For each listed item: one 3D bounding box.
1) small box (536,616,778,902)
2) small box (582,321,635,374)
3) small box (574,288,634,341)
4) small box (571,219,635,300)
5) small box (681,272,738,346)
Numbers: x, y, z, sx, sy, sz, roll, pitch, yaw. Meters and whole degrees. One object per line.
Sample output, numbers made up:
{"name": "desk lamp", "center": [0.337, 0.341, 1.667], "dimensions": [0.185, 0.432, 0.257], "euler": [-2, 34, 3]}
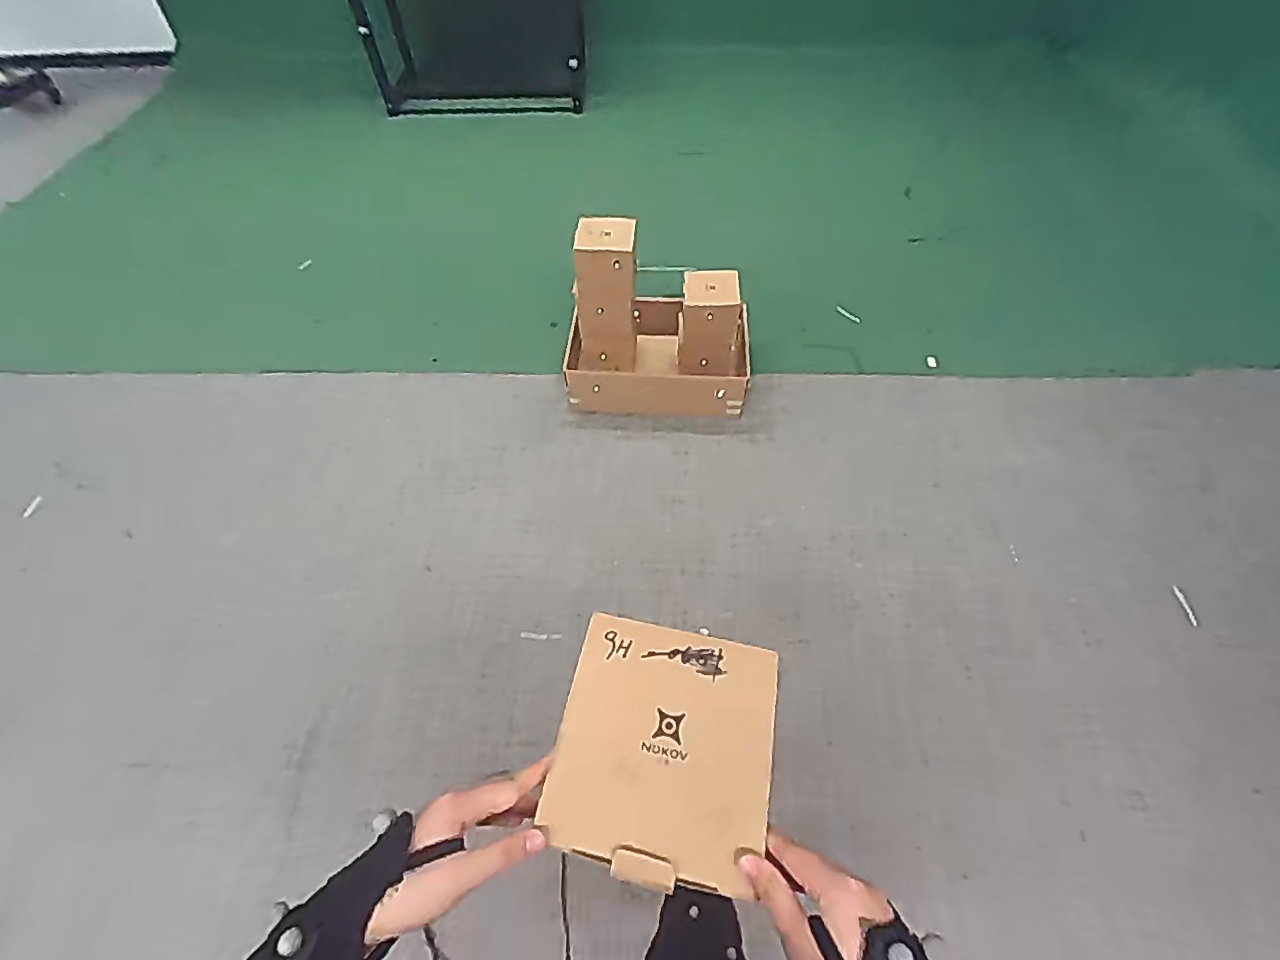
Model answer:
{"name": "small box", "center": [0.020, 0.249, 0.493], "dimensions": [0.168, 0.176, 0.179], "euler": [11, 57, 5]}
{"name": "small box", "center": [-0.107, -0.495, 1.928], "dimensions": [0.168, 0.176, 0.179], "euler": [2, 57, 2]}
{"name": "small box", "center": [-0.114, -0.578, 1.786], "dimensions": [0.179, 0.176, 0.168], "euler": [3, 57, 2]}
{"name": "small box", "center": [-0.105, -0.667, 1.647], "dimensions": [0.179, 0.176, 0.168], "euler": [2, 56, 2]}
{"name": "small box", "center": [0.222, -0.553, 1.762], "dimensions": [0.179, 0.176, 0.168], "euler": [1, 58, 3]}
